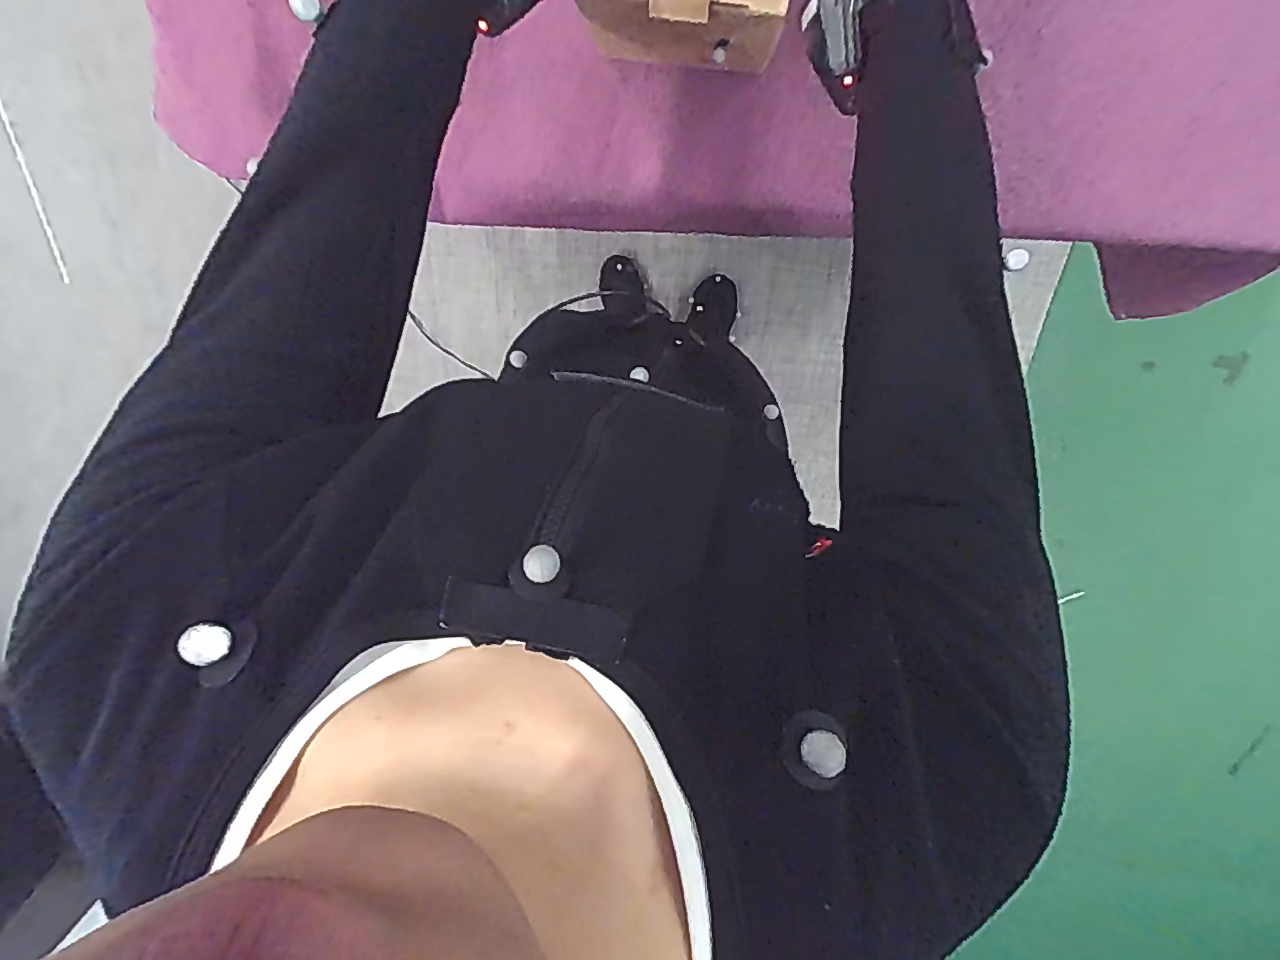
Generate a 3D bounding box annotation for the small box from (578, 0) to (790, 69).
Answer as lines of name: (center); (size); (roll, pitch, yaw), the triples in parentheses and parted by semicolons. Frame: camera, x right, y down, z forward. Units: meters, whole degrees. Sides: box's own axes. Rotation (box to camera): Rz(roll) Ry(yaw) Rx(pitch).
small box: (0.048, -0.463, 0.437); (0.168, 0.176, 0.179); (8, 115, 1)
